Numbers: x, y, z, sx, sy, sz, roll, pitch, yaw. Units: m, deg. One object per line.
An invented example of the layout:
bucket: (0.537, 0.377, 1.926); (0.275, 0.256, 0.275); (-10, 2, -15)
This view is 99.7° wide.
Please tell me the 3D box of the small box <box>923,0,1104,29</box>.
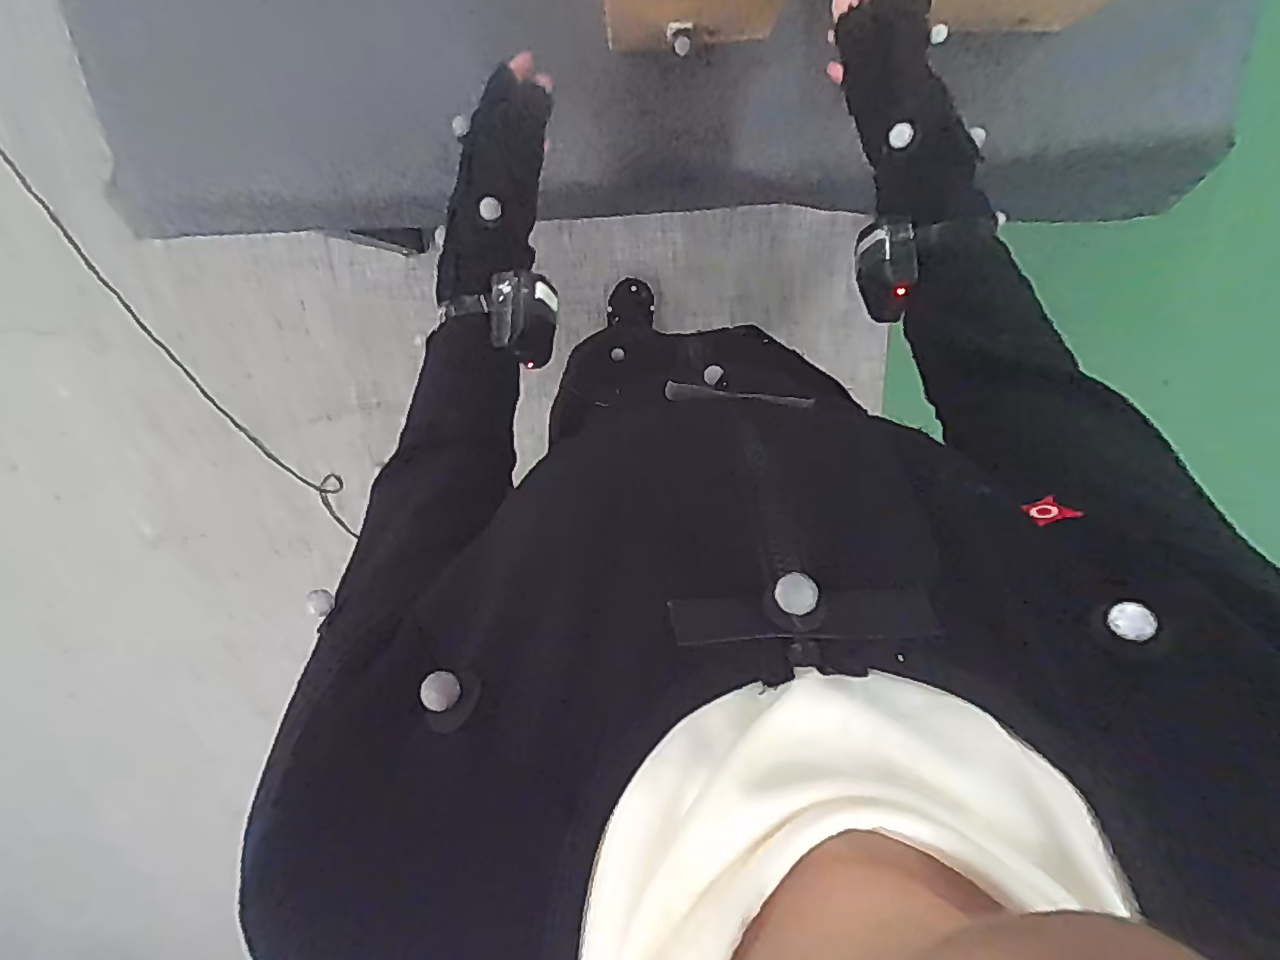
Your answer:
small box: (0.366, -0.528, 0.456); (0.168, 0.176, 0.179); (-1, 107, -1)

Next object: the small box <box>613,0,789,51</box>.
small box: (0.051, -0.509, 0.456); (0.168, 0.176, 0.179); (-6, 108, 2)
